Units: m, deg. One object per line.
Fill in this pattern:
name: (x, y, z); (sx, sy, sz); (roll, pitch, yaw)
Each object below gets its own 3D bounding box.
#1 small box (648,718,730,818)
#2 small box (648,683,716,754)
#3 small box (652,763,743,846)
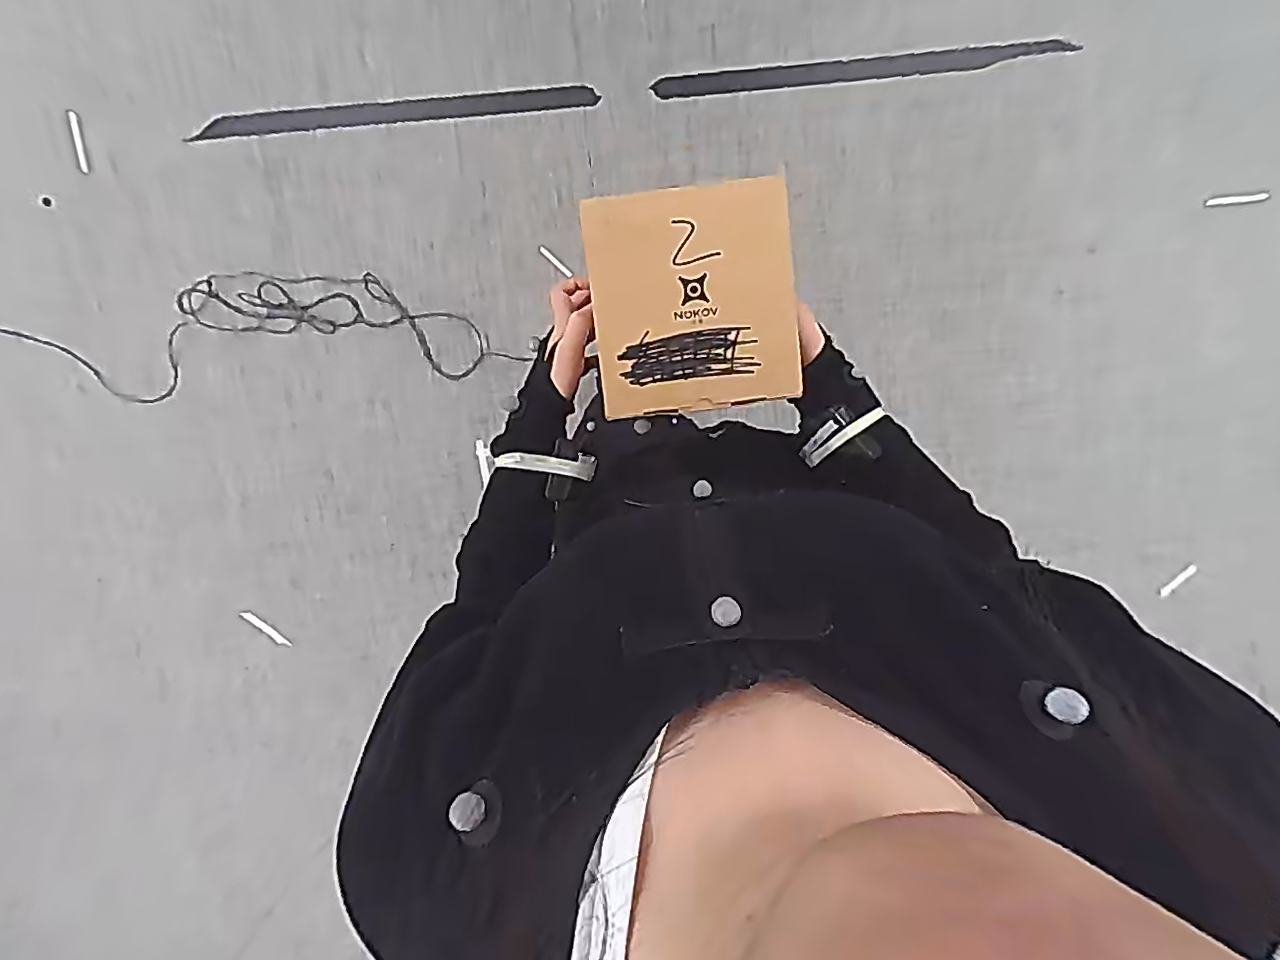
small box: (0.117, 0.721, 1.359); (0.179, 0.176, 0.168); (4, 98, -2)
small box: (0.113, 0.688, 1.520); (0.179, 0.176, 0.168); (1, 98, -1)
small box: (0.121, 0.752, 1.200); (0.179, 0.176, 0.168); (1, 97, -1)
